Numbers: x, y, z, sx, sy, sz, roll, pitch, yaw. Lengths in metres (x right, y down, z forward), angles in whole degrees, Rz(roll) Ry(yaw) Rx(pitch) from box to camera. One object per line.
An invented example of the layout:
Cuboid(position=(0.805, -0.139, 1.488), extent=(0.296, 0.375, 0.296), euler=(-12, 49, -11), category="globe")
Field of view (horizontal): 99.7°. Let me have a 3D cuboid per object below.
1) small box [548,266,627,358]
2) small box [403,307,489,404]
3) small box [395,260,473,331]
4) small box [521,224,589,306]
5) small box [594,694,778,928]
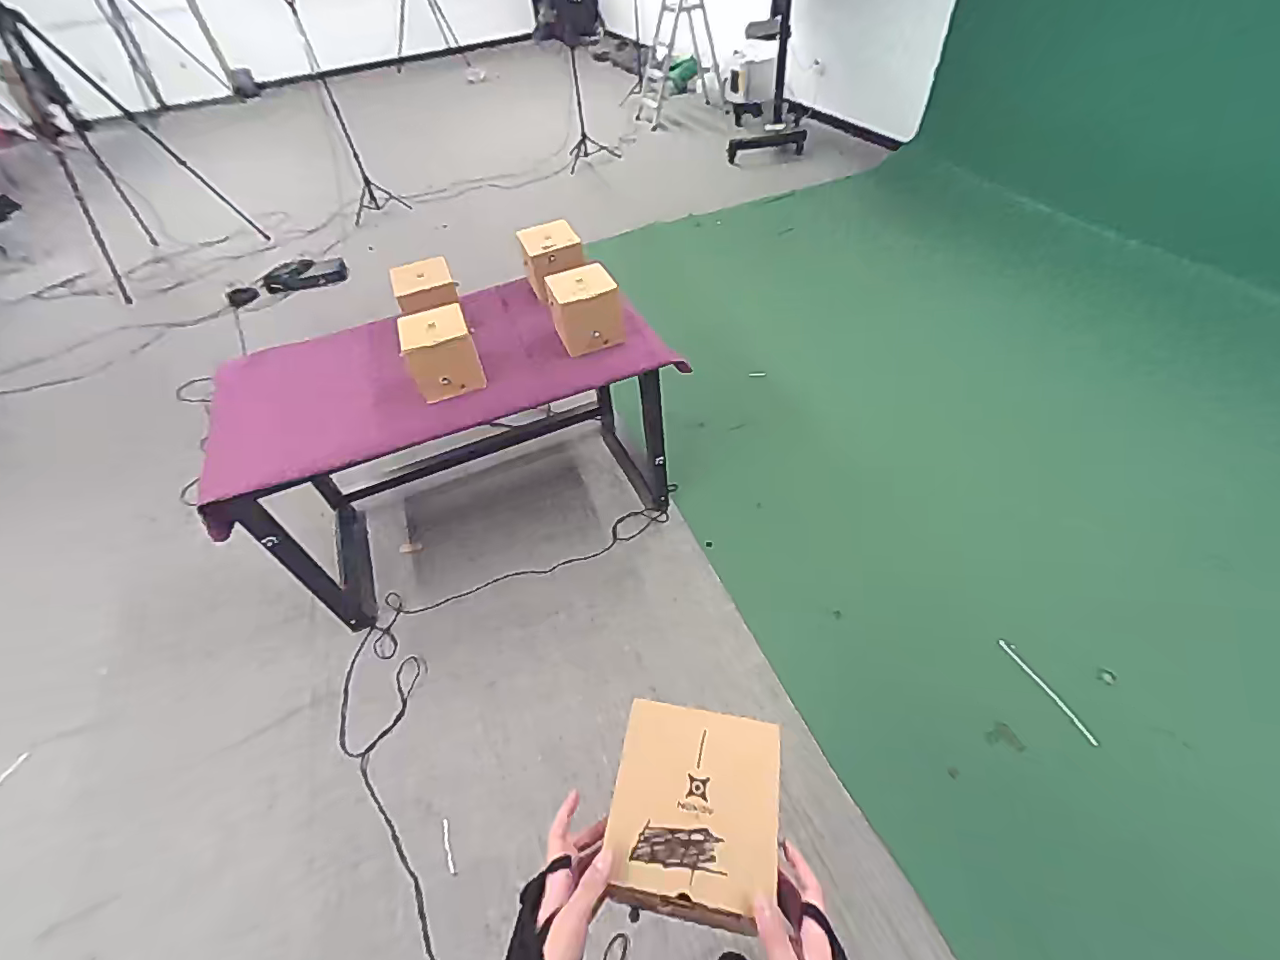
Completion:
Cuboid(position=(-0.145, -0.471, 1.524), extent=(0.168, 0.176, 0.179), euler=(-19, 48, -9), category="small box")
Cuboid(position=(-0.517, -0.332, 1.445), extent=(0.168, 0.176, 0.179), euler=(-19, 48, -11), category="small box")
Cuboid(position=(-0.623, -0.536, 1.639), extent=(0.168, 0.176, 0.179), euler=(-19, 51, -10), category="small box")
Cuboid(position=(-0.266, -0.687, 1.730), extent=(0.168, 0.176, 0.179), euler=(-21, 51, -10), category="small box")
Cuboid(position=(0.057, 0.369, 0.601), extent=(0.168, 0.176, 0.179), euler=(7, 47, 9), category="small box")
